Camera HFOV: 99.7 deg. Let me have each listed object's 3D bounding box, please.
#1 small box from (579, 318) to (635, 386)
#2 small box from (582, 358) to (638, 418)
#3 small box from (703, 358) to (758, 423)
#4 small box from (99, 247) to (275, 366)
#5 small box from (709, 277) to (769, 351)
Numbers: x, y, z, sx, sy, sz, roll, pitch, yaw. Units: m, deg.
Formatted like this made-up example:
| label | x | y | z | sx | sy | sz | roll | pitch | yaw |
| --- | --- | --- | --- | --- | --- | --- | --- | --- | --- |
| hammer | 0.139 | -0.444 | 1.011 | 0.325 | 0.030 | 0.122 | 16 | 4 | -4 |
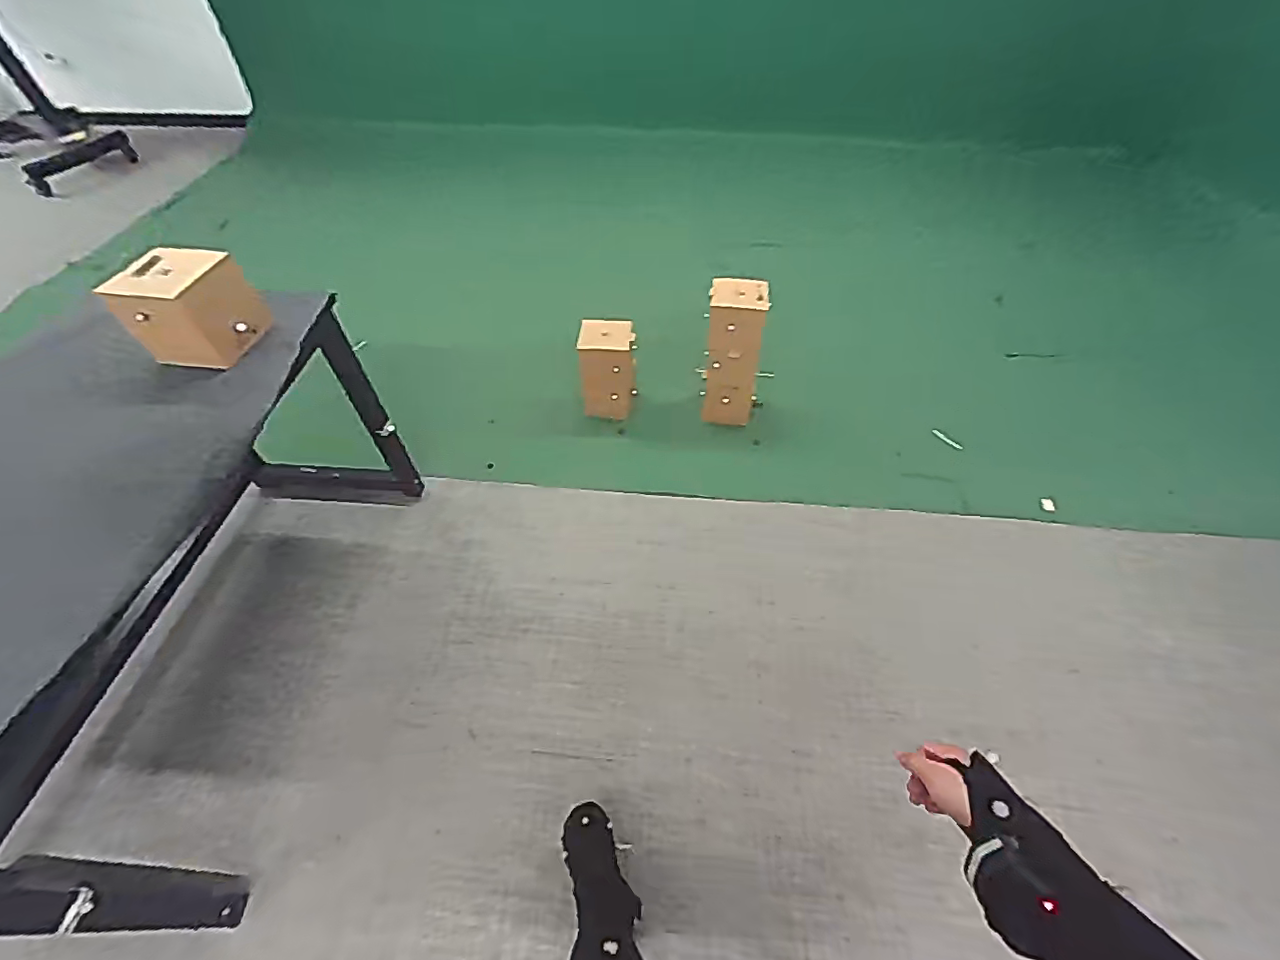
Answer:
| label | x | y | z | sx | sy | sz | roll | pitch | yaw |
| --- | --- | --- | --- | --- | --- | --- | --- | --- | --- |
| small box | -0.111 | -0.448 | 1.903 | 0.179 | 0.176 | 0.168 | 2 | 51 | 3 |
| small box | -0.106 | -0.355 | 2.037 | 0.179 | 0.176 | 0.168 | 8 | 52 | 8 |
| small box | 0.335 | -0.331 | 2.014 | 0.179 | 0.176 | 0.168 | 7 | 52 | 7 |
| small box | -0.908 | -0.352 | 1.105 | 0.179 | 0.176 | 0.168 | 7 | 53 | 8 |
| small box | 0.320 | -0.537 | 1.759 | 0.179 | 0.176 | 0.168 | 6 | 51 | 6 |
